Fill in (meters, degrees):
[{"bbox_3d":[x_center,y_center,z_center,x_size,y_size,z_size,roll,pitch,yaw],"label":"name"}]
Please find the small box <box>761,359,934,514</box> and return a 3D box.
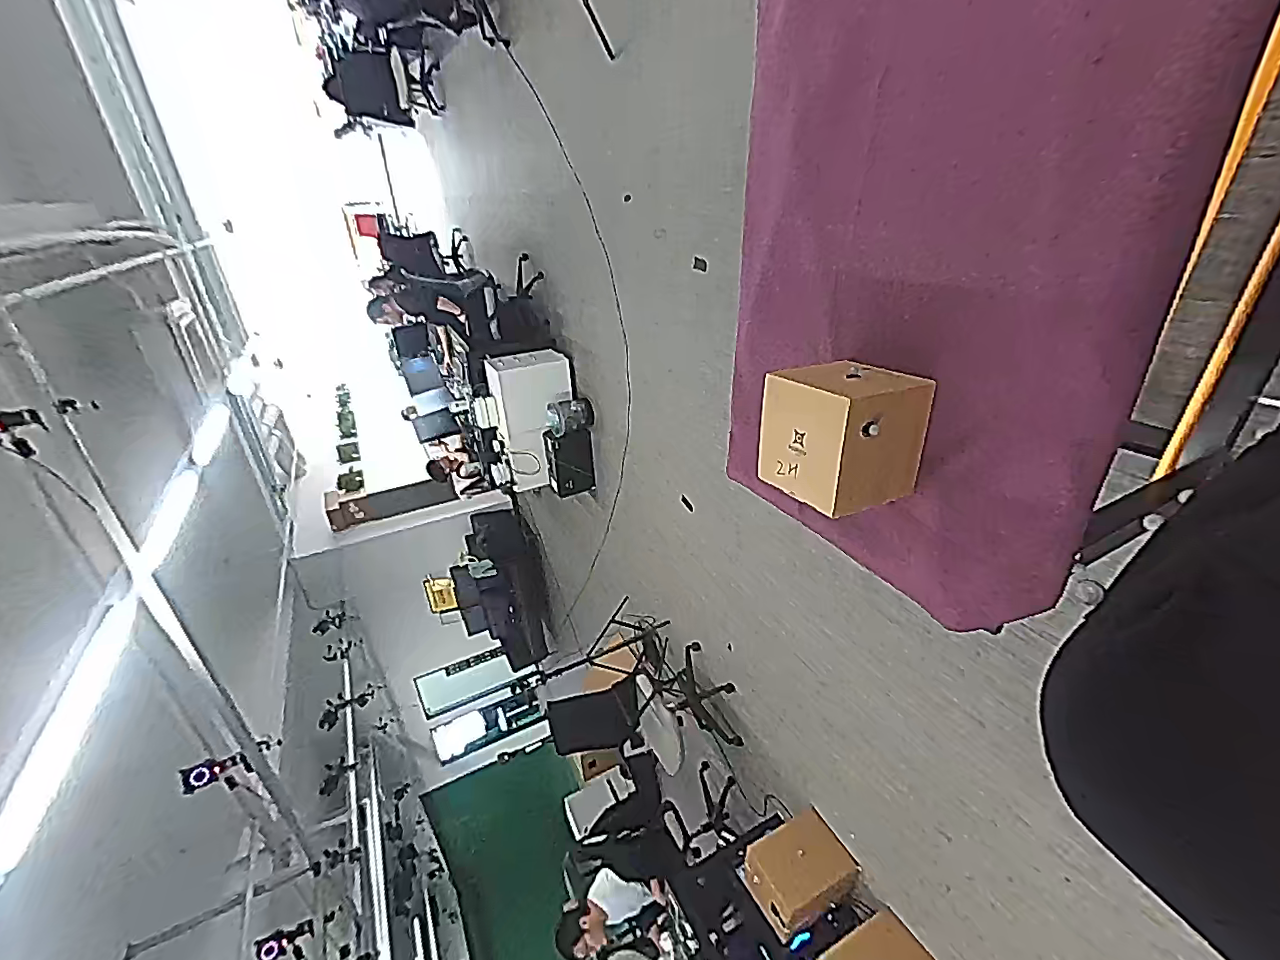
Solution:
[{"bbox_3d":[0.305,-0.076,0.809,0.168,0.176,0.179,39,137,55],"label":"small box"}]
